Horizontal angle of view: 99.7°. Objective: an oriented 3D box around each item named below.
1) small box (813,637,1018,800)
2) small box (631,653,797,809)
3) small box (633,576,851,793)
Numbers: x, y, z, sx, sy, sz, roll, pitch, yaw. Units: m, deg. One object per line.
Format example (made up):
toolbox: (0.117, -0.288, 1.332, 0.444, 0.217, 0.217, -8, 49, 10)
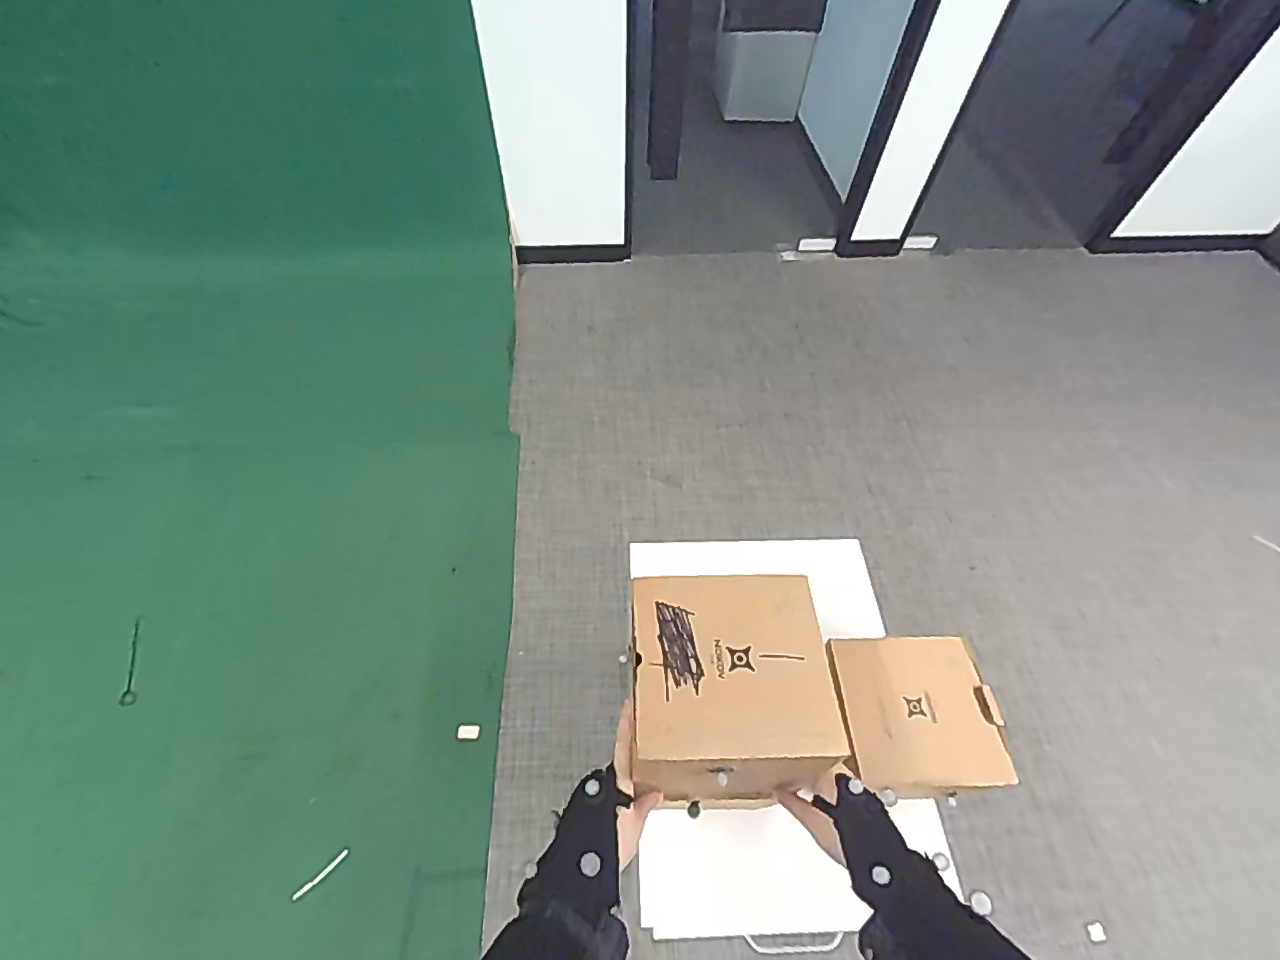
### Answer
small box: (0.322, 0.308, 0.692, 0.179, 0.176, 0.168, -1, 55, -1)
small box: (0.077, 0.312, 0.677, 0.179, 0.176, 0.168, 1, 57, -3)
small box: (0.081, 0.208, 0.541, 0.179, 0.176, 0.168, 0, 53, -3)
